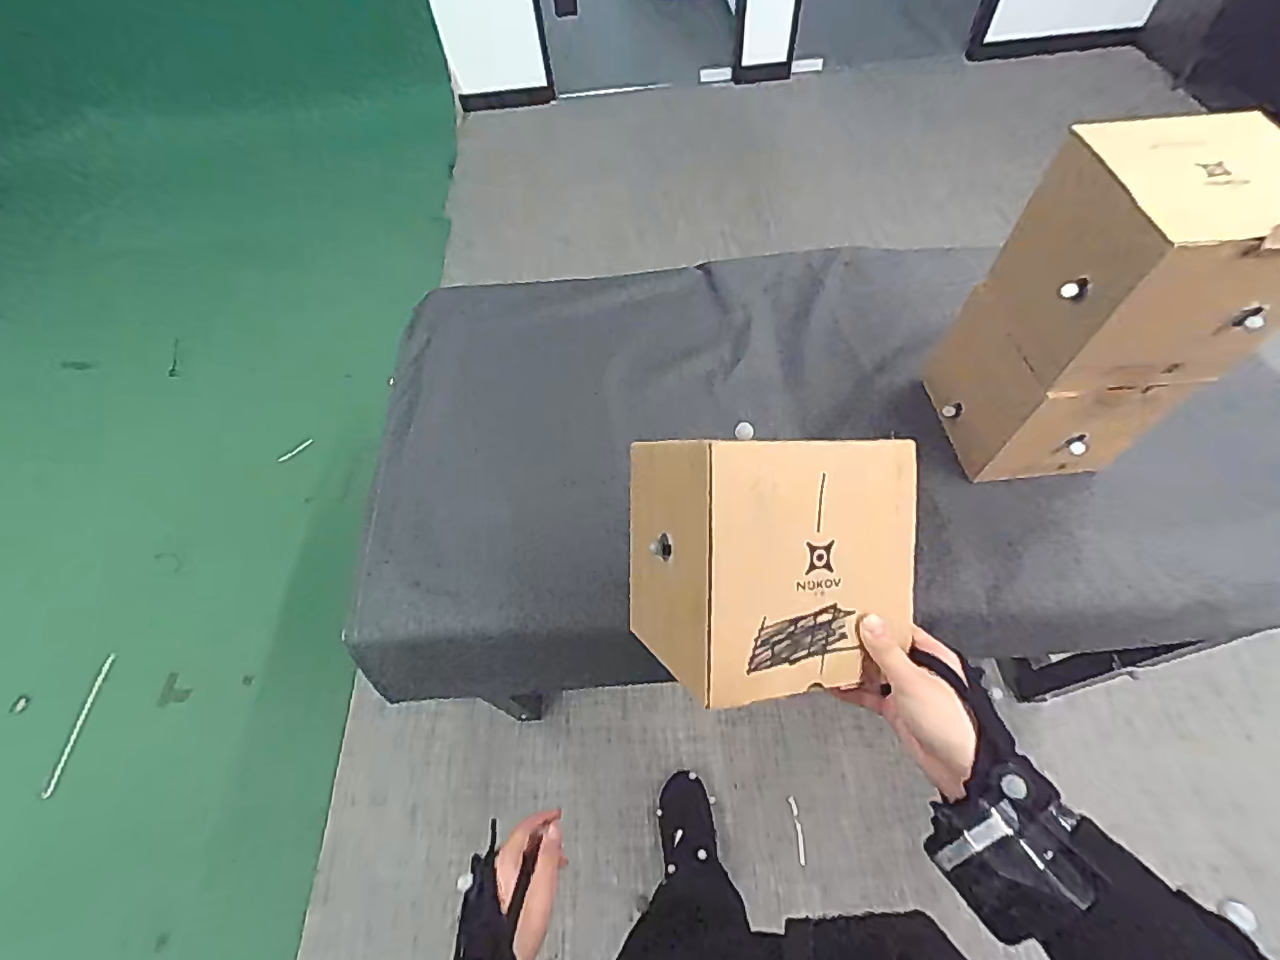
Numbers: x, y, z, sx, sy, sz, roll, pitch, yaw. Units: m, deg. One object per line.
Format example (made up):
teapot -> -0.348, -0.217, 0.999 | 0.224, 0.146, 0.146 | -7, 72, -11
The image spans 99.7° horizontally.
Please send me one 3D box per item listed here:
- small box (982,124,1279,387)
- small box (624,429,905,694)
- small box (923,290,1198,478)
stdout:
small box -> 0.471, -0.201, 0.514 | 0.168, 0.176, 0.179 | -3, 57, 2
small box -> 0.089, 0.052, 0.450 | 0.168, 0.176, 0.179 | 1, 91, -19
small box -> 0.477, -0.113, 0.652 | 0.168, 0.176, 0.179 | -6, 58, 1
